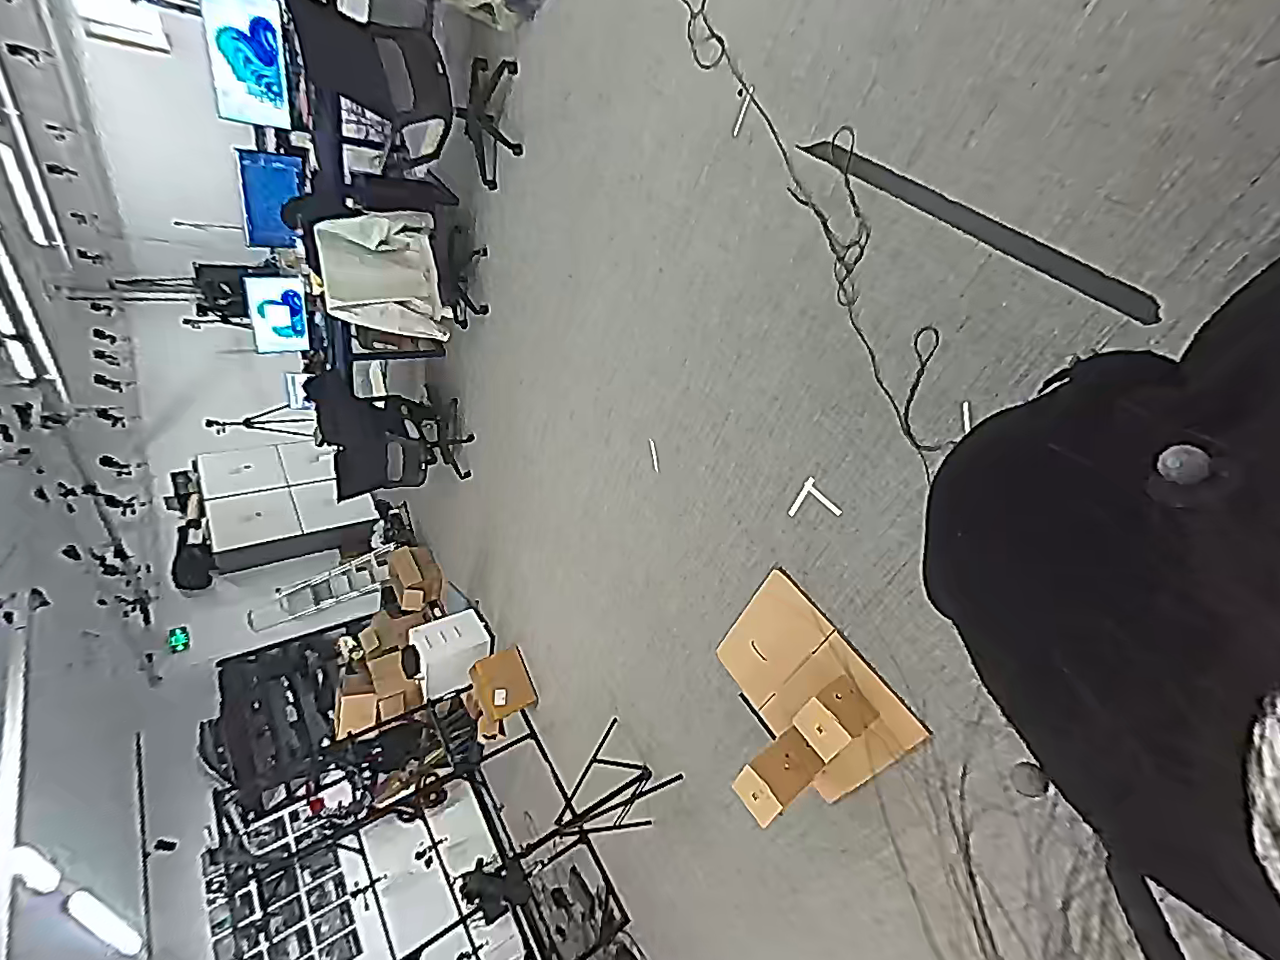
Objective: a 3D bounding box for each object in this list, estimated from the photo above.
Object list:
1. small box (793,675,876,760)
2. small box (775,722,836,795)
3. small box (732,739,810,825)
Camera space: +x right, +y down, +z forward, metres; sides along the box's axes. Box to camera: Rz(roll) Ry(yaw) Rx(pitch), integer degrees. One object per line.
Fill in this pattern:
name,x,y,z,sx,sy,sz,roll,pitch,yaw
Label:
small box,0.654,0.787,1.806,0.168,0.176,0.179,49,136,33
small box,0.583,1.005,1.971,0.168,0.176,0.179,44,133,36
small box,0.456,1.041,1.873,0.168,0.176,0.179,45,134,34
